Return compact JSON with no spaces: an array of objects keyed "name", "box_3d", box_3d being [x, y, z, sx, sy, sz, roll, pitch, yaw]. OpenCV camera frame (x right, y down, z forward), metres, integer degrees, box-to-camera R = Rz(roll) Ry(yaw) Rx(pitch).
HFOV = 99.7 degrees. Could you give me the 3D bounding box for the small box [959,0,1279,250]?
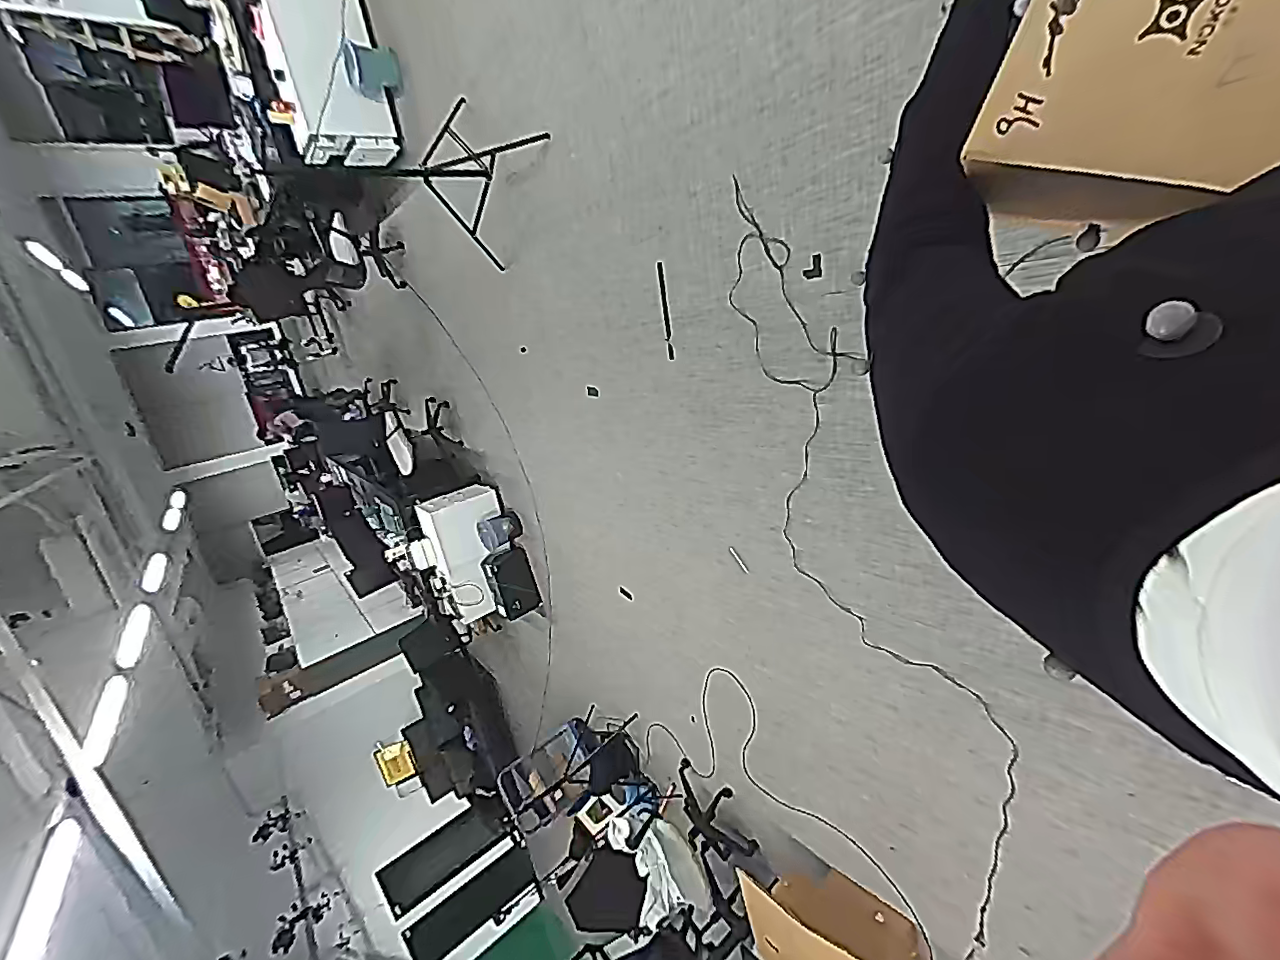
[{"name":"small box","box_3d":[0.361,-0.273,0.375,0.179,0.176,0.168,30,114,30]}]
